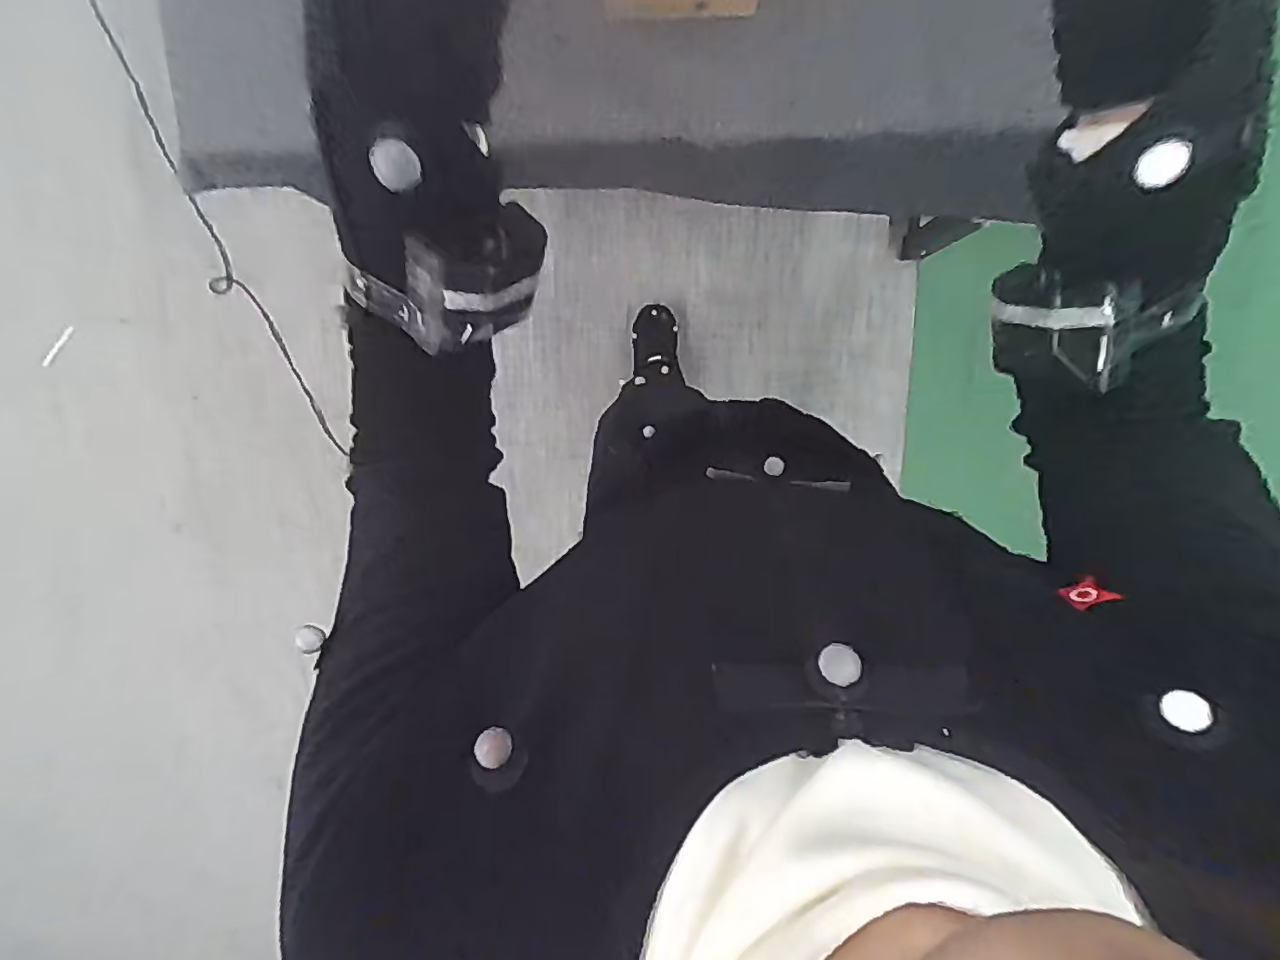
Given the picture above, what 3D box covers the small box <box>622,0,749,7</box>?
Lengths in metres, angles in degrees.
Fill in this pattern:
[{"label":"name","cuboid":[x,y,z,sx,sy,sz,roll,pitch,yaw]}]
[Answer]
[{"label":"small box","cuboid":[0.041,-0.587,0.504,0.168,0.176,0.179,0,101,4]}]
